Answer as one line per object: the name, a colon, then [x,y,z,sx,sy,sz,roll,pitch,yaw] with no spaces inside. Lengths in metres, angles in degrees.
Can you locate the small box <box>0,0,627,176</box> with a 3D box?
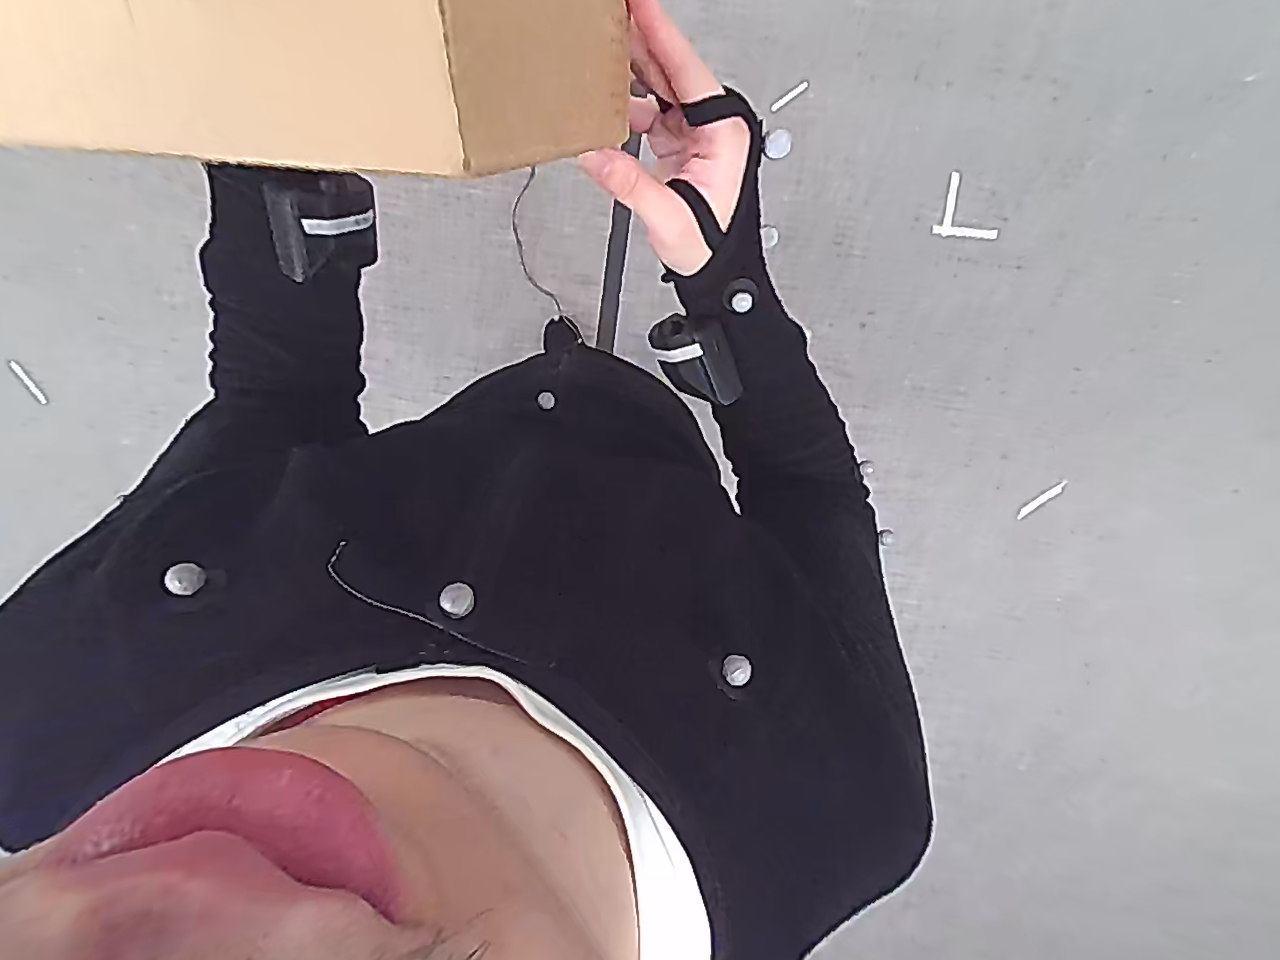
small box: [-0.103,-0.215,0.181,0.168,0.176,0.179,10,127,12]
